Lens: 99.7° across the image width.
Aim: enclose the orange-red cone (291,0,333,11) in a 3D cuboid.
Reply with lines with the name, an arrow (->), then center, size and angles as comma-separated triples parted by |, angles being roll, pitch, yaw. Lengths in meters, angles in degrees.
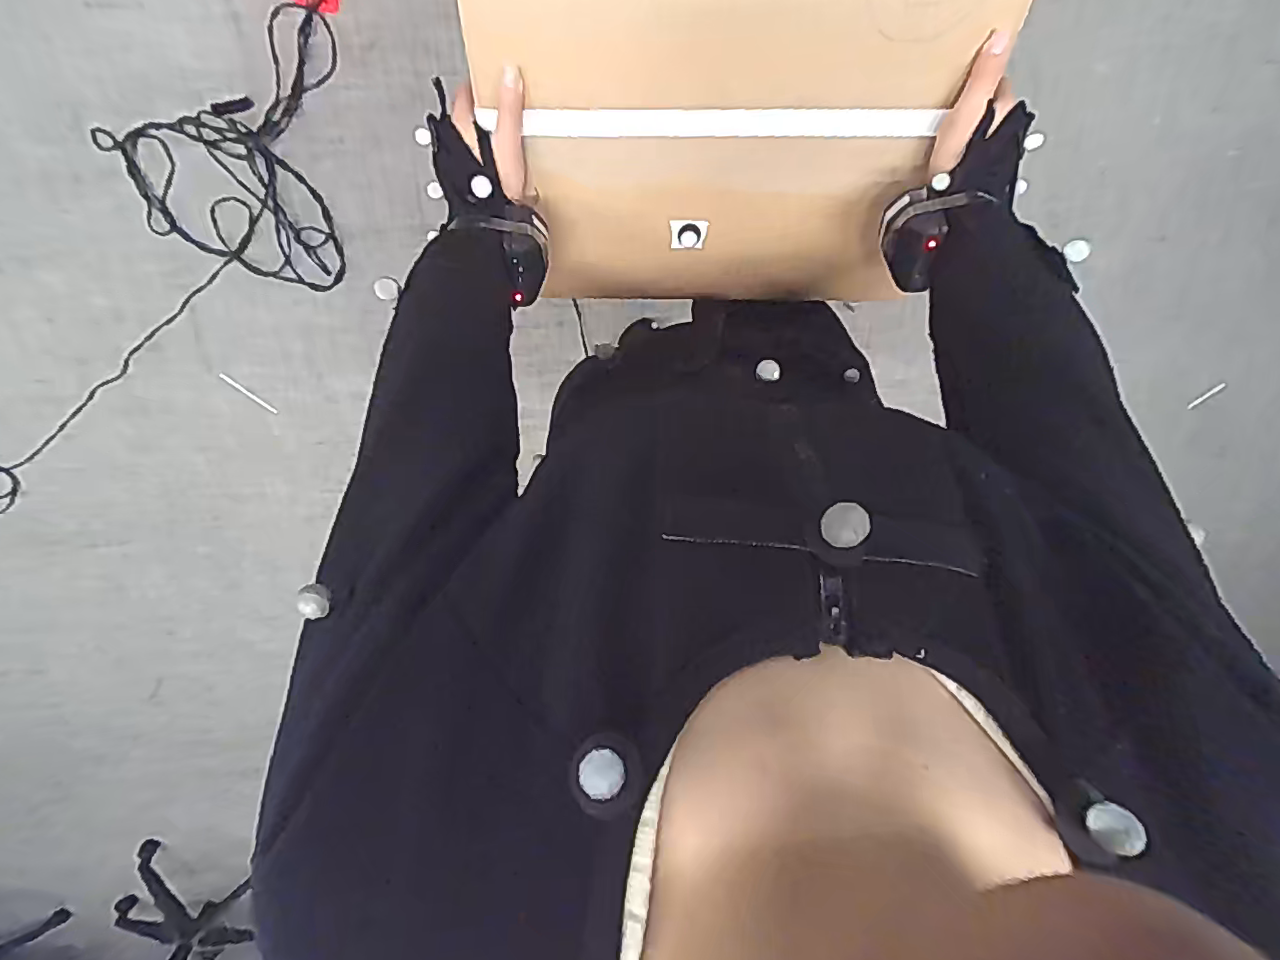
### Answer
orange-red cone -> -0.621, -0.904, 0.789 | 0.199, 0.360, 0.198 | 18, 110, -8
